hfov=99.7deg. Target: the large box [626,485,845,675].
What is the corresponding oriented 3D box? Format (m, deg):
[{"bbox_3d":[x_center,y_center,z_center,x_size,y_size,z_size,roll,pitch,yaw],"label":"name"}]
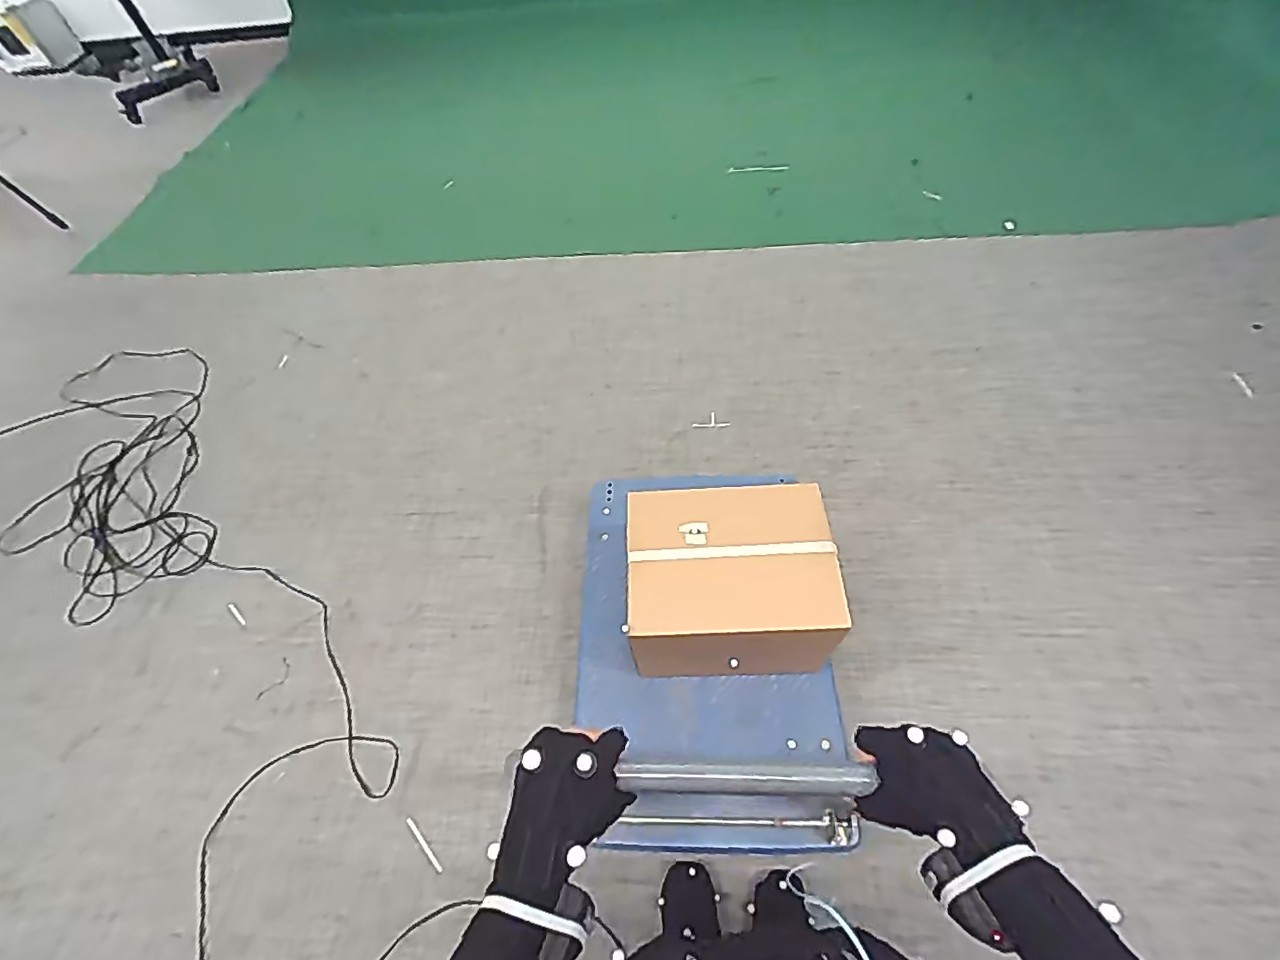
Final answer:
[{"bbox_3d":[0.187,0.233,1.195,0.408,0.320,0.320,-4,56,4],"label":"large box"}]
